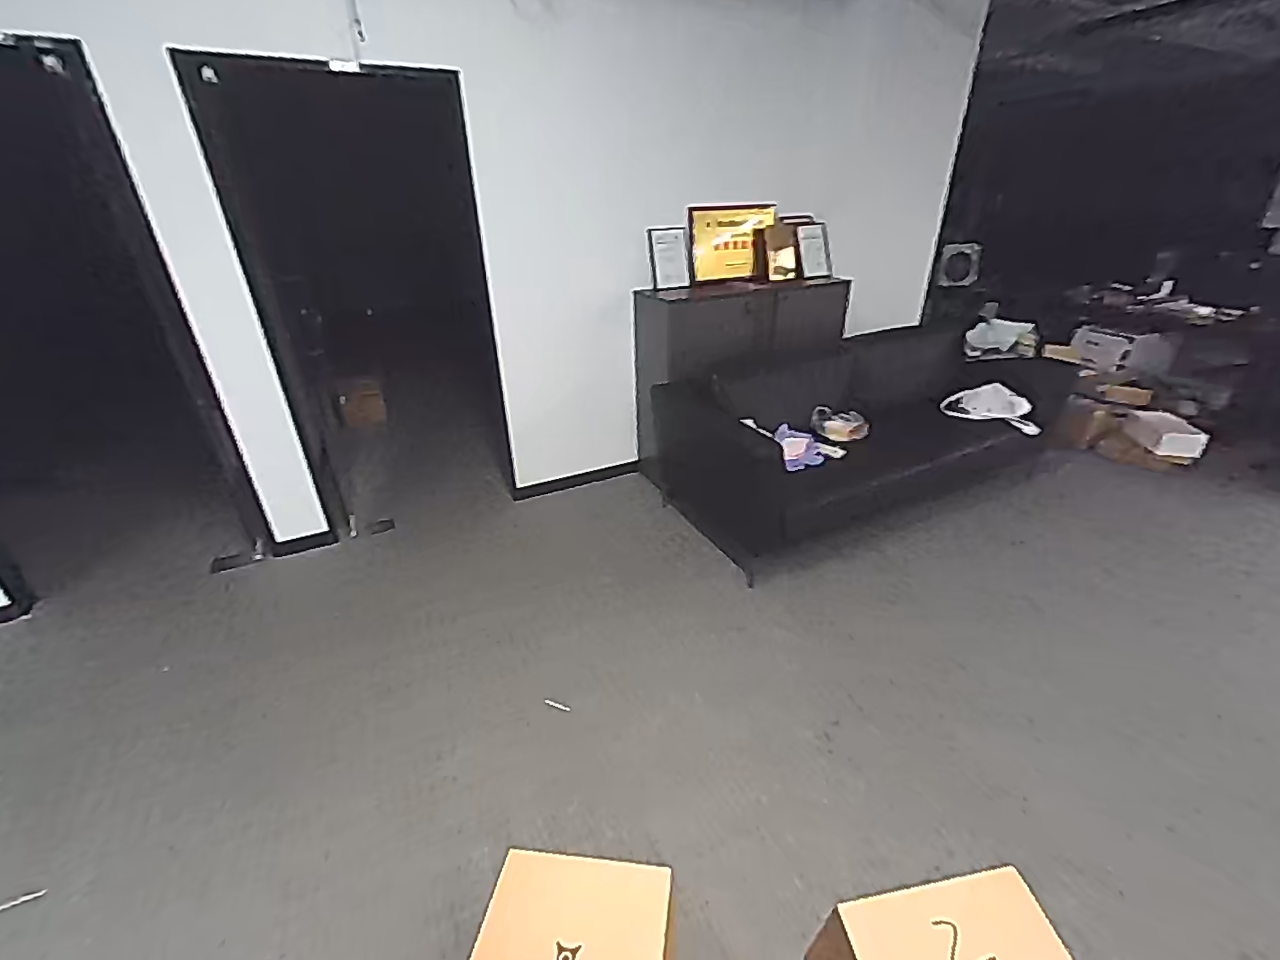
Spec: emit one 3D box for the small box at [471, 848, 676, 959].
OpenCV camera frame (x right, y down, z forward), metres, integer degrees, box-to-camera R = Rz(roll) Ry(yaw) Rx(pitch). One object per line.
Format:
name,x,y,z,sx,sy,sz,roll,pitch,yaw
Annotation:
small box,-0.057,0.478,0.484,0.168,0.176,0.179,0,26,10
